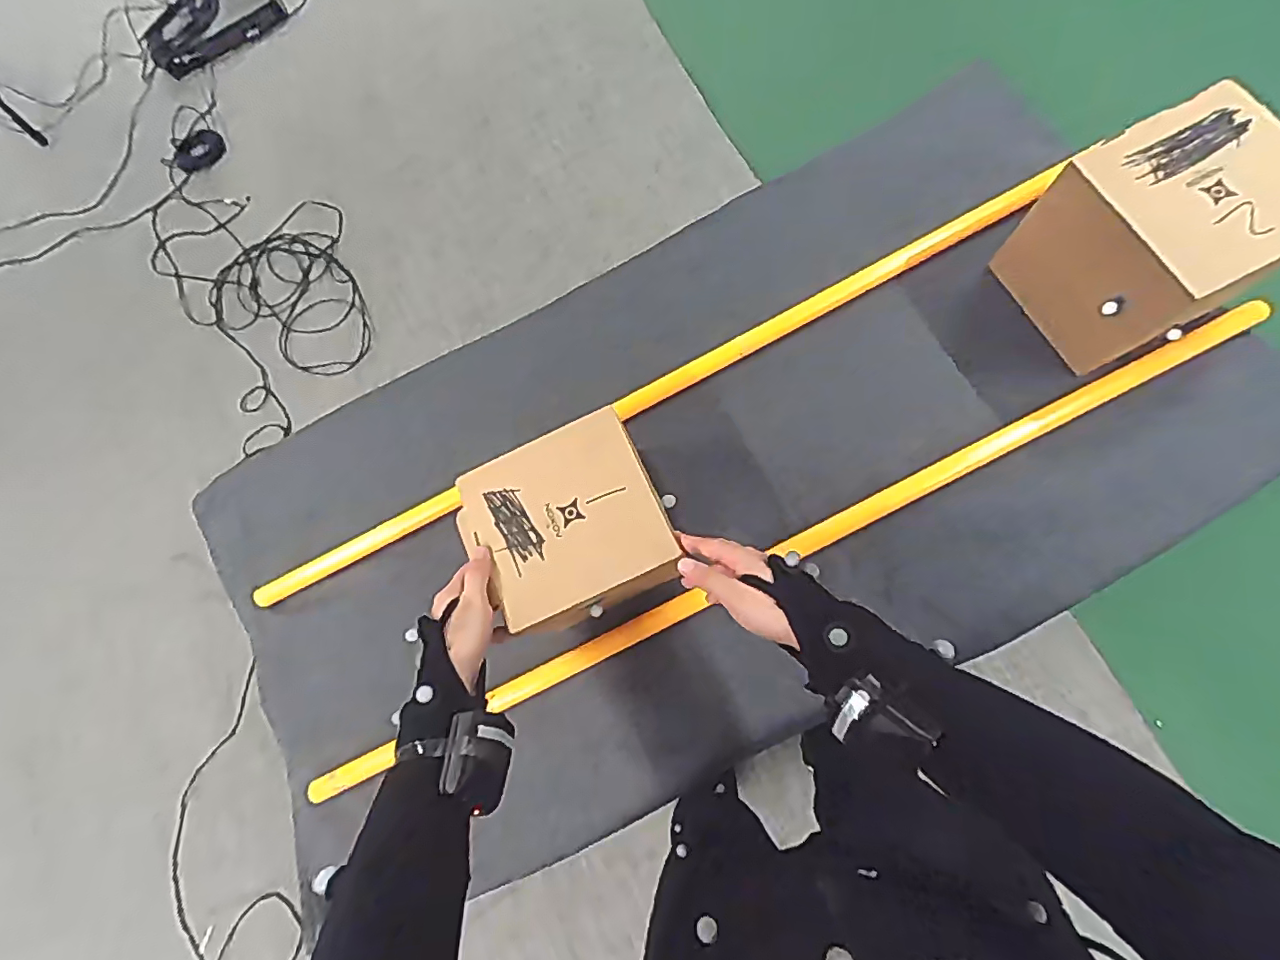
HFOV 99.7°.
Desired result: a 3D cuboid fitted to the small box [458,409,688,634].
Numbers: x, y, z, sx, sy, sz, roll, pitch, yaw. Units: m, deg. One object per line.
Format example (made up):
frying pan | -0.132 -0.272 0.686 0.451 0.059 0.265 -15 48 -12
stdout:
small box | -0.060 0.055 0.586 0.179 0.176 0.168 -25 75 1
